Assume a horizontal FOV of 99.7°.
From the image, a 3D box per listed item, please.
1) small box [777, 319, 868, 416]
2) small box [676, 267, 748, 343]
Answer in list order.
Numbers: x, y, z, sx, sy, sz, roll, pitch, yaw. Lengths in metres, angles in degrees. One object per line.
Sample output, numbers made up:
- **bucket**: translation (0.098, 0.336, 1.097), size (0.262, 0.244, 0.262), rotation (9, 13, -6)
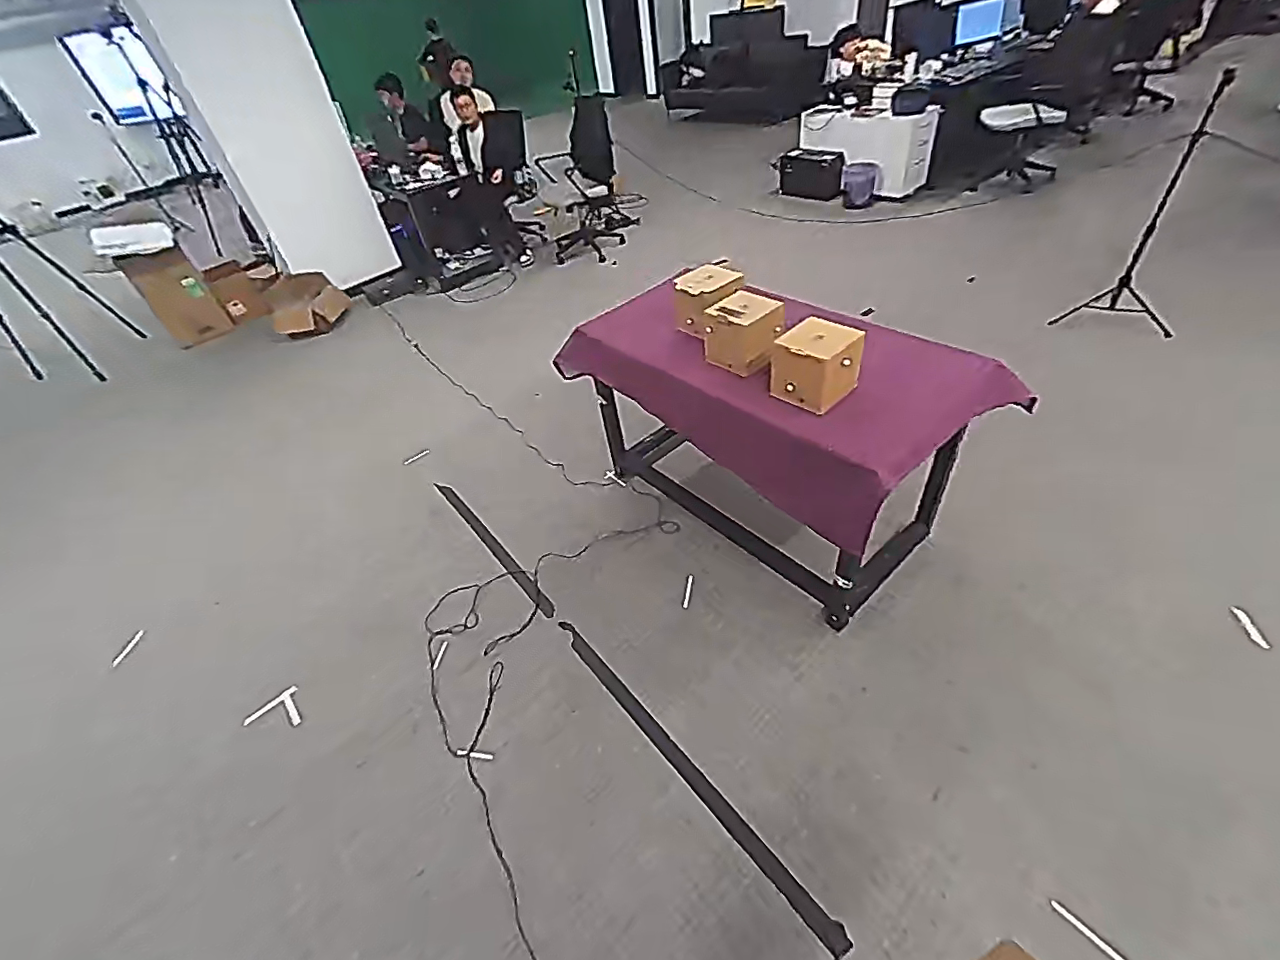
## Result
- **small box**: translation (0.482, -0.304, 1.458), size (0.179, 0.176, 0.168), rotation (-36, 48, -25)
- **small box**: translation (0.242, -0.586, 1.807), size (0.179, 0.176, 0.168), rotation (-35, 47, -24)
